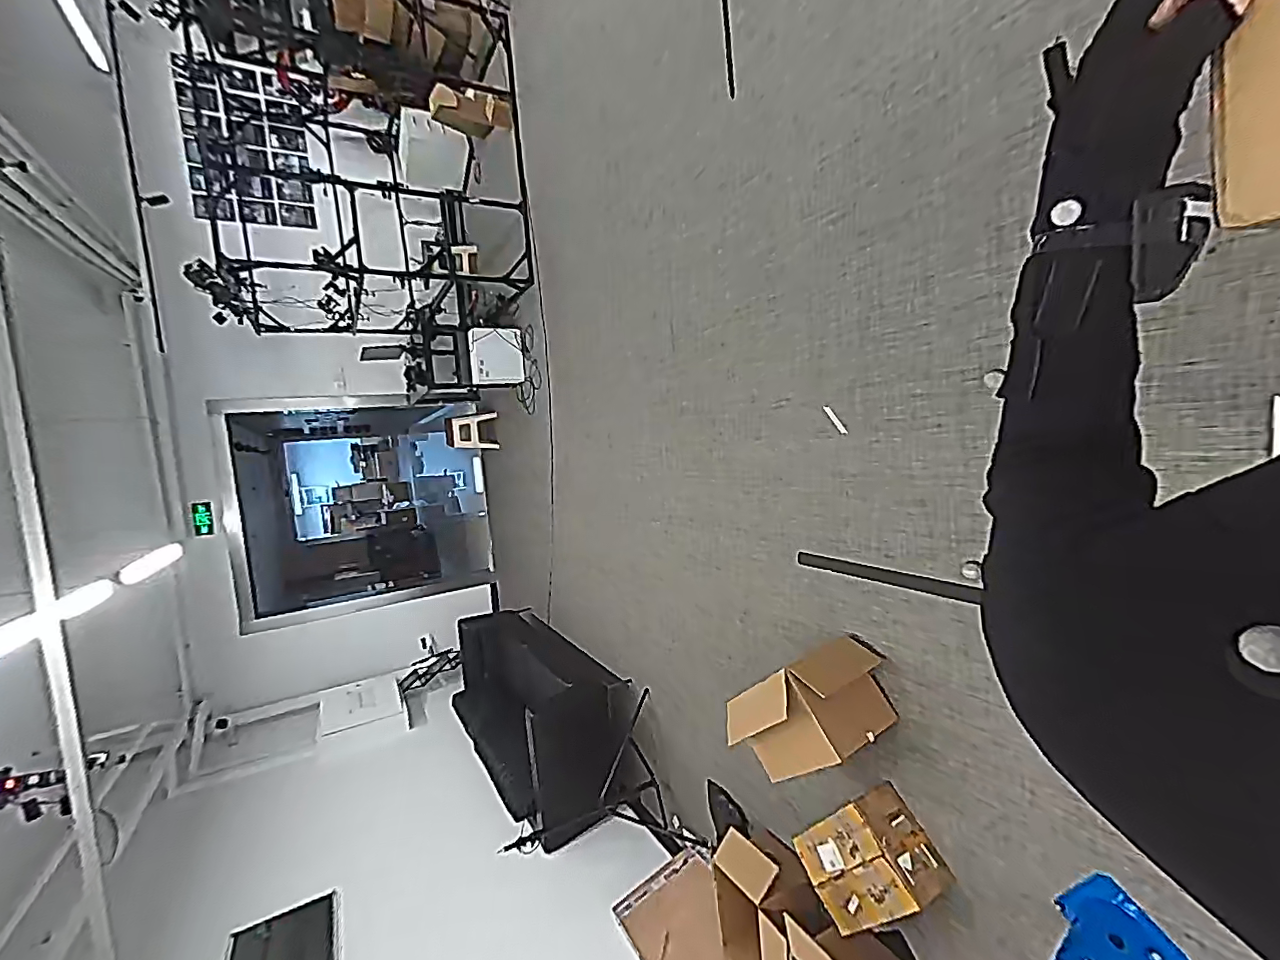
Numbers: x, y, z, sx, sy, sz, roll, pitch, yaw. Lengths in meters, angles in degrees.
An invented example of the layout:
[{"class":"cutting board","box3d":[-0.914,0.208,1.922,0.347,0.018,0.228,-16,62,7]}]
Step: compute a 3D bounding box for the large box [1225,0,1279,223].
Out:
[{"class":"large box","box3d":[0.559,-0.334,0.215,0.408,0.320,0.320,3,107,59]}]
